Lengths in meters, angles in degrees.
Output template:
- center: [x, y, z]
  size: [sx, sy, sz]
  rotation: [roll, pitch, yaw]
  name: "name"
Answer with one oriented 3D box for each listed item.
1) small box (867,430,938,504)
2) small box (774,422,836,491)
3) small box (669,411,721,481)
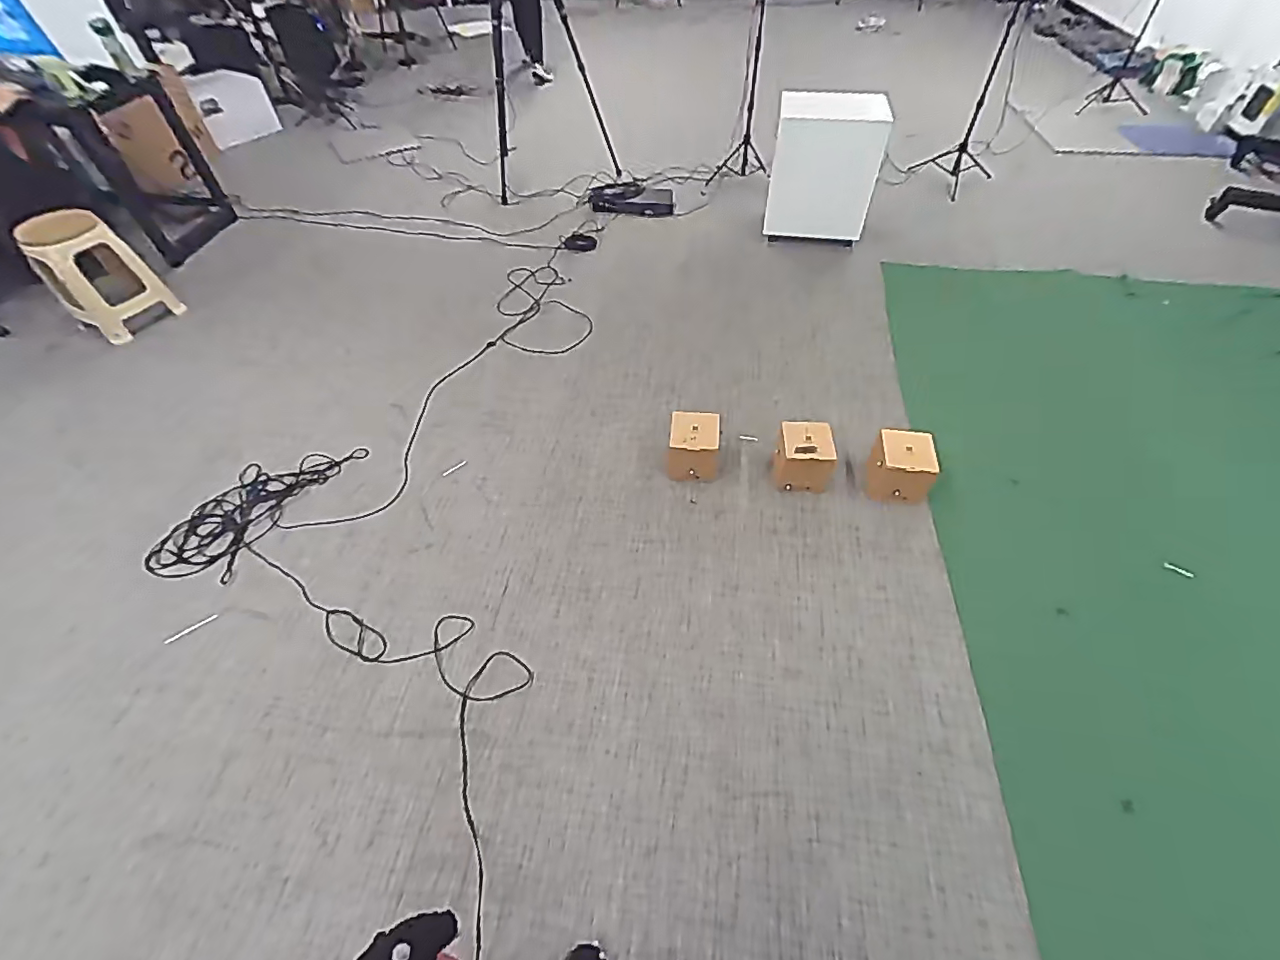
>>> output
- center: [0.884, -0.042, 1.840]
  size: [0.168, 0.176, 0.179]
  rotation: [7, 51, 7]
  name: "small box"
- center: [0.564, -0.079, 1.872]
  size: [0.168, 0.176, 0.179]
  rotation: [3, 50, 3]
  name: "small box"
- center: [0.193, -0.120, 1.908]
  size: [0.168, 0.176, 0.179]
  rotation: [4, 51, 6]
  name: "small box"
